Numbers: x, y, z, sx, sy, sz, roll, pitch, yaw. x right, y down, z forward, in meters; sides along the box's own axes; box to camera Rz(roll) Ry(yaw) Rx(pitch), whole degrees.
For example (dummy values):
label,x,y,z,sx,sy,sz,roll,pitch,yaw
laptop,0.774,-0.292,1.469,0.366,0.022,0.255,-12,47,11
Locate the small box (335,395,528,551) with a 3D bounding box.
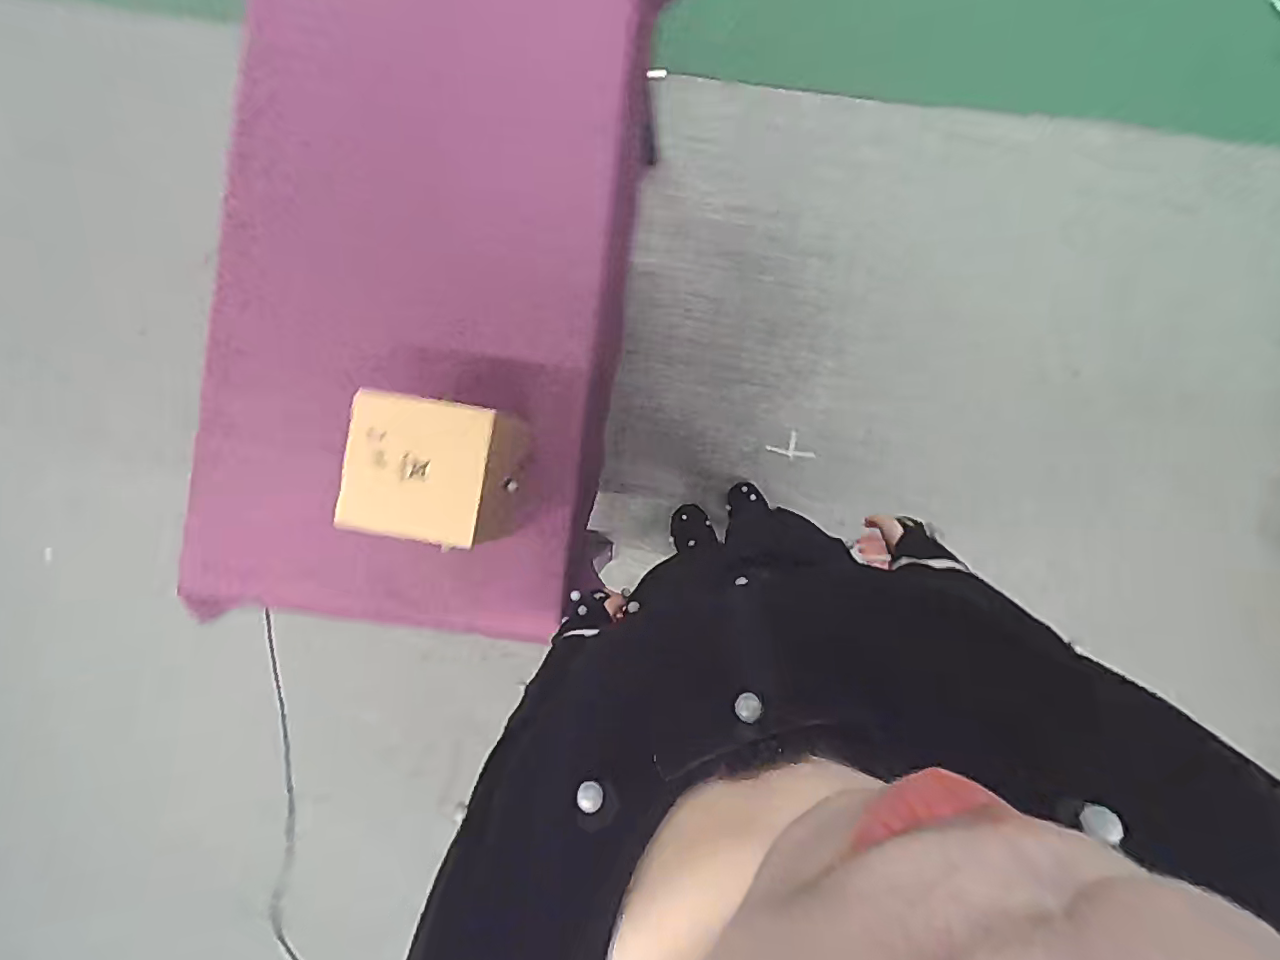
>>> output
label,x,y,z,sx,sy,sz,roll,pitch,yaw
small box,-0.262,-0.008,0.721,0.179,0.176,0.168,9,89,5
